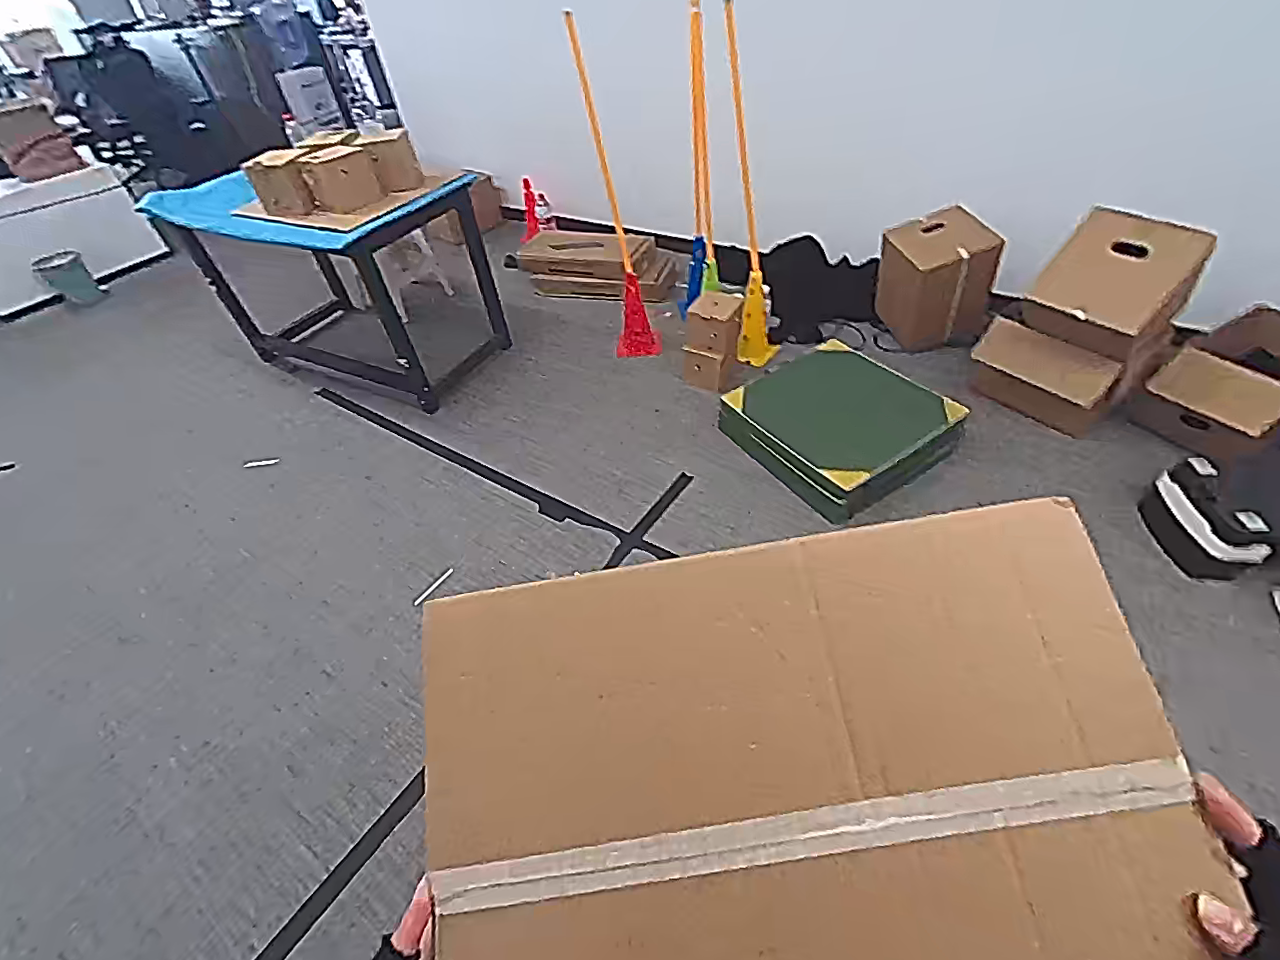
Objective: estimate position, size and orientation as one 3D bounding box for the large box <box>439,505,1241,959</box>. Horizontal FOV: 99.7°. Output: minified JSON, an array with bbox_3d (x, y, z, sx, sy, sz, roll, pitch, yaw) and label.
[{"bbox_3d":[0.098,0.240,0.438,0.408,0.320,0.320,-10,72,2],"label":"large box"}]
